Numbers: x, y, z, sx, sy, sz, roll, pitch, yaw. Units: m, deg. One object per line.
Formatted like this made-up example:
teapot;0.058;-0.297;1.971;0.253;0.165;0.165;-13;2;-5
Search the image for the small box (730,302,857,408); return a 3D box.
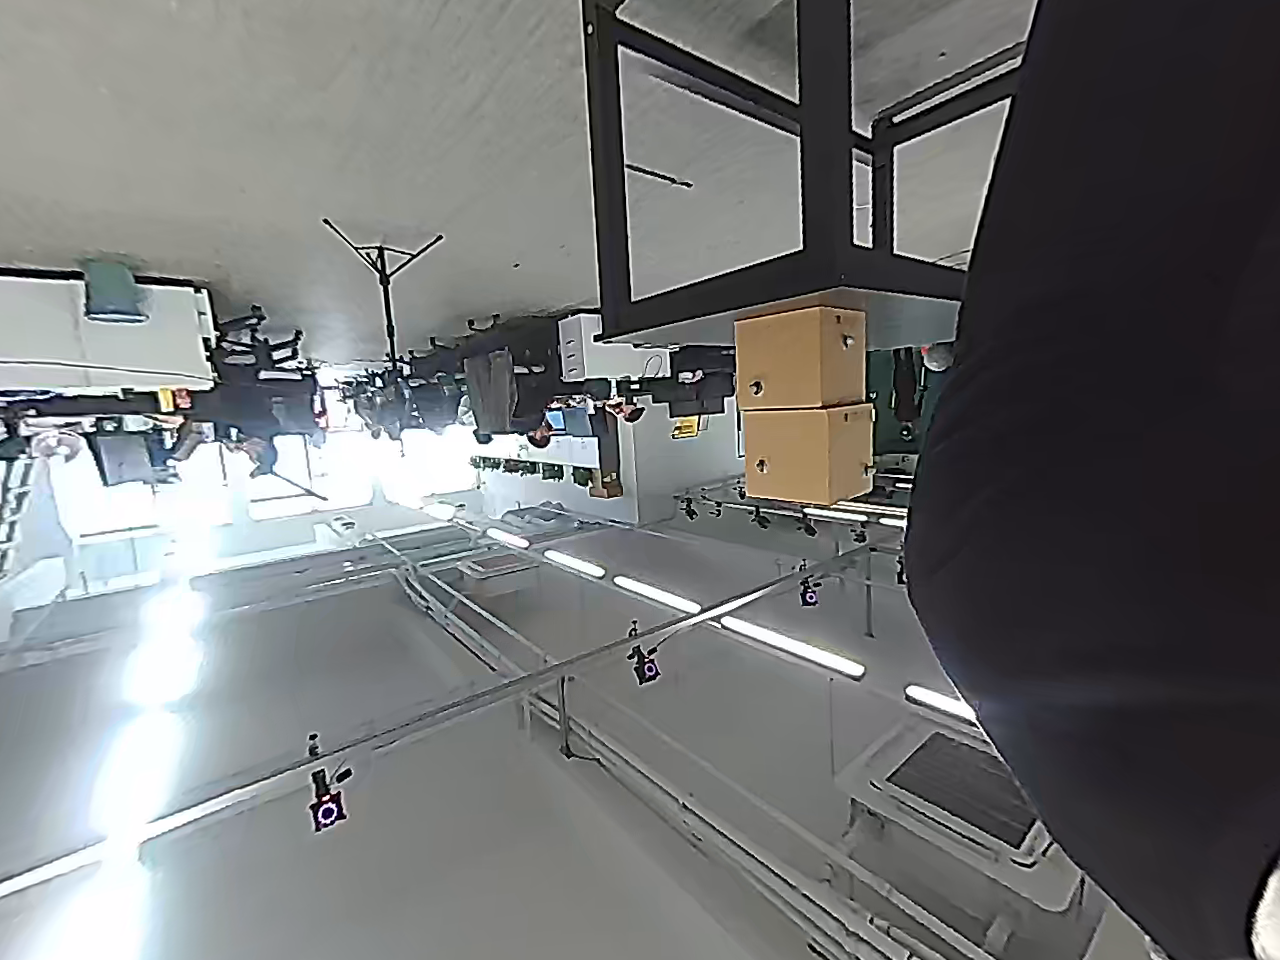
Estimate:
small box;0.284;-0.223;0.995;0.168;0.176;0.179;-13;-168;-42
